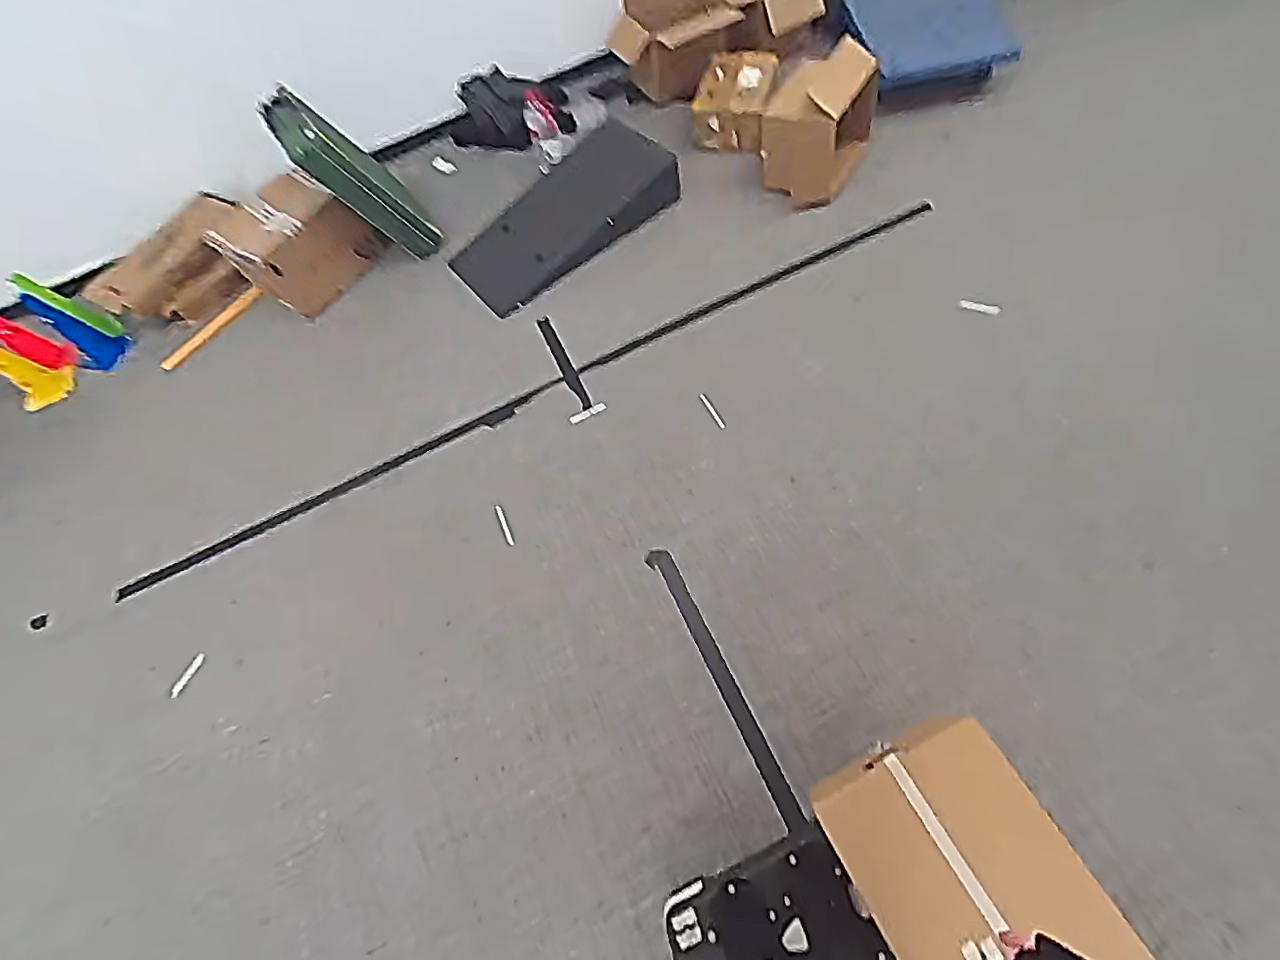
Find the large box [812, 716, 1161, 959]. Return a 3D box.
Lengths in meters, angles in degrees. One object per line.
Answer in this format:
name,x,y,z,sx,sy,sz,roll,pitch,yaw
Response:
large box,0.552,0.681,0.947,0.320,0.320,0.408,-31,62,1
